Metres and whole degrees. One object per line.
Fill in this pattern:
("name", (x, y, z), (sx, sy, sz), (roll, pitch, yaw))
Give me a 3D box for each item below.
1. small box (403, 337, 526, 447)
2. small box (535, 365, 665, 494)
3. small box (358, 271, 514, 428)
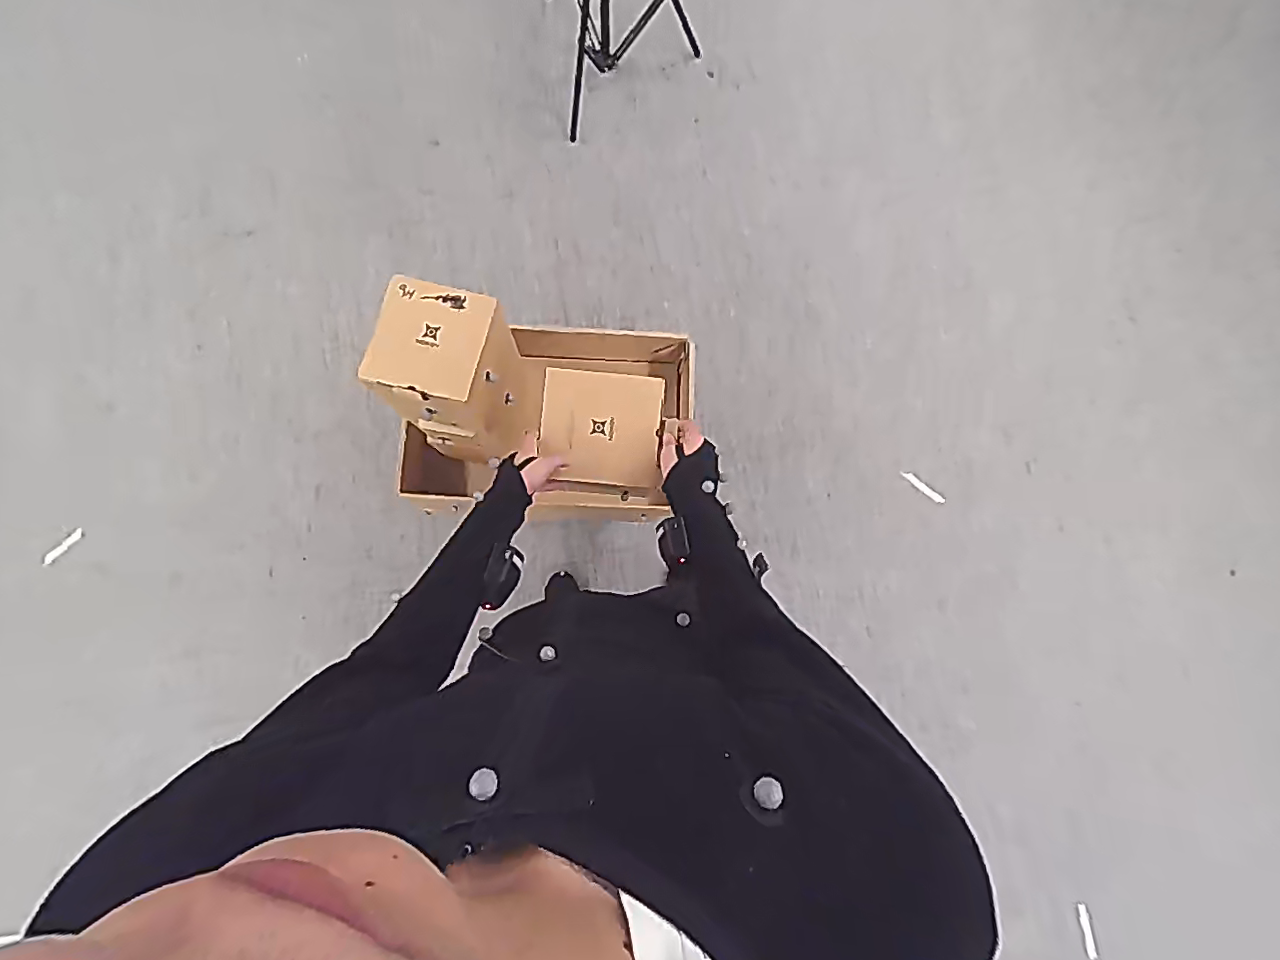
("small box", (-0.325, -0.174, 1.040), (0.168, 0.176, 0.179), (10, 78, -1))
("small box", (-0.062, -0.070, 0.856), (0.179, 0.176, 0.168), (5, 83, -3))
("small box", (-0.315, -0.199, 0.878), (0.168, 0.176, 0.179), (14, 79, 0))
